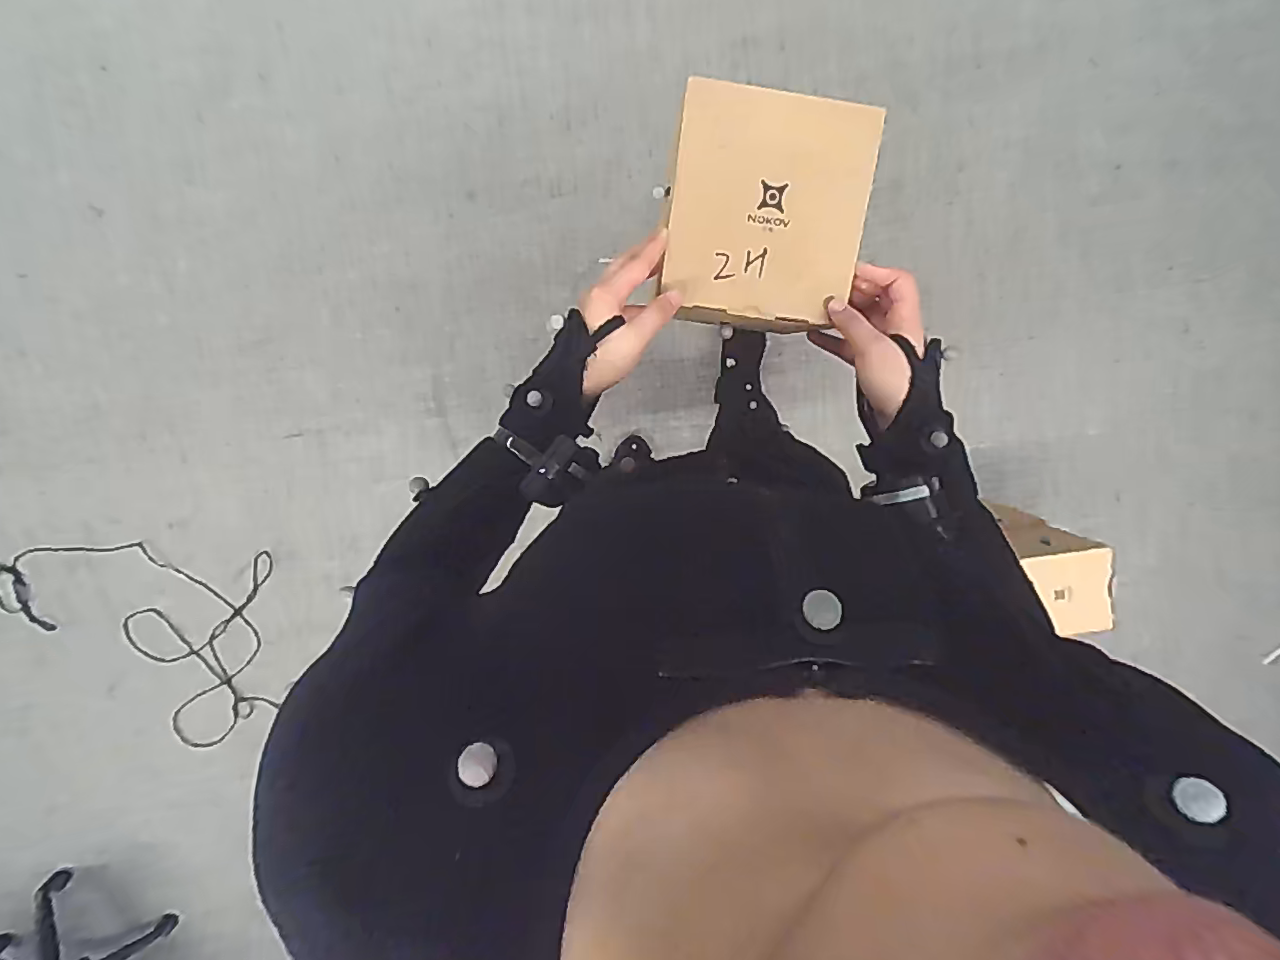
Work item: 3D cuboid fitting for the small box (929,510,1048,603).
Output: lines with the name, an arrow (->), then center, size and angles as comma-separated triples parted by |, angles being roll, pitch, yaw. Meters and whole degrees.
small box -> 0.798, 0.172, 1.247 | 0.179, 0.176, 0.168 | -9, 99, 4

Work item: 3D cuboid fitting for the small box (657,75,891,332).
small box -> 0.110, -0.246, 0.528 | 0.168, 0.176, 0.179 | 7, 103, -3

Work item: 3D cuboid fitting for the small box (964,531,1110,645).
small box -> 0.790, 0.208, 1.087 | 0.179, 0.176, 0.168 | -9, 99, 2
